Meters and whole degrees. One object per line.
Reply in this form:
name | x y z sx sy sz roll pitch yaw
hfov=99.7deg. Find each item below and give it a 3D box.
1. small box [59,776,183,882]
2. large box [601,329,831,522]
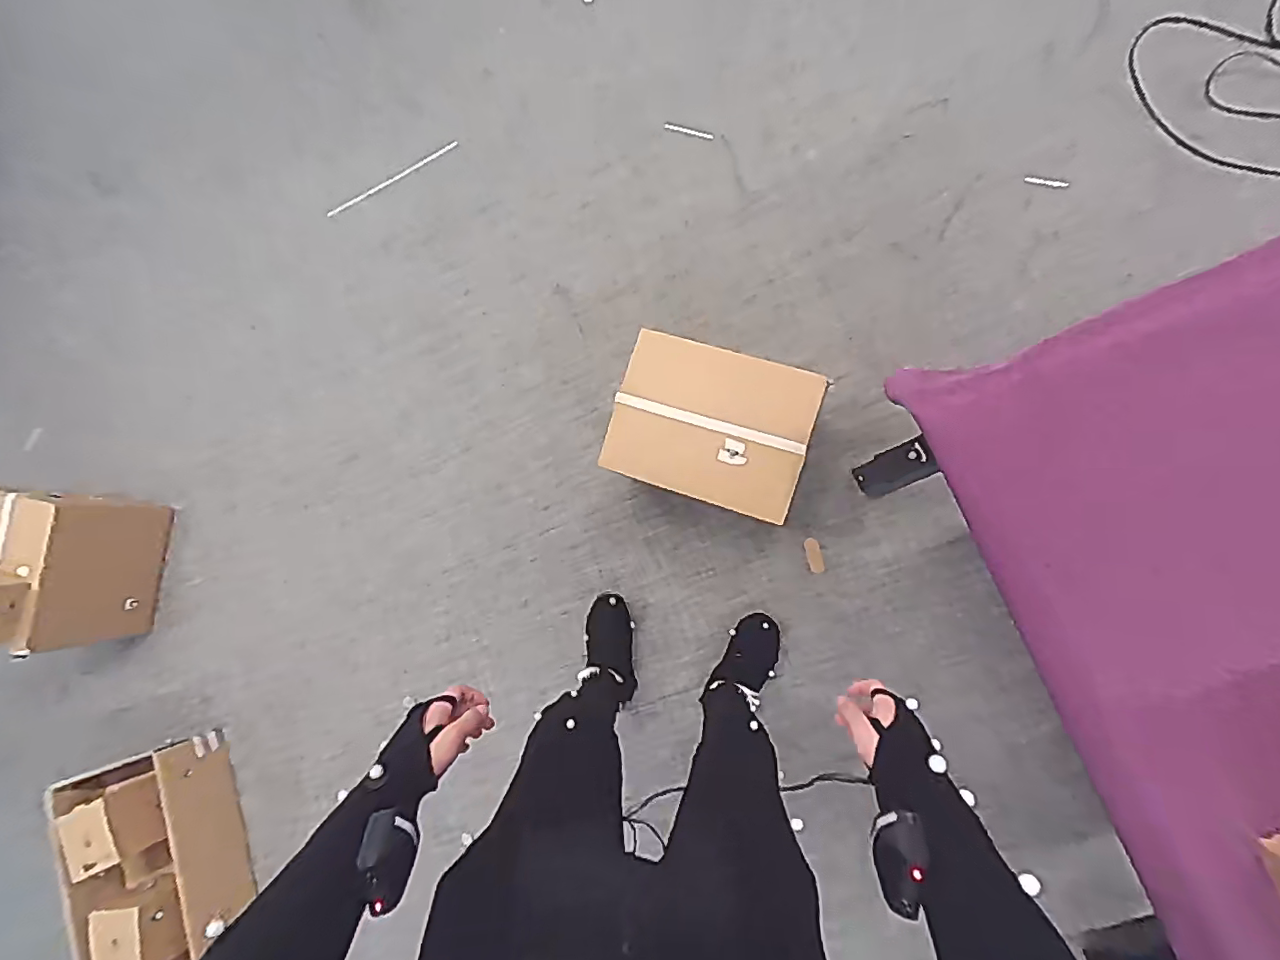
small box | -1.435 0.956 1.503 0.168 0.176 0.179 -26 81 8
large box | 0.171 -0.108 1.237 0.408 0.320 0.320 18 90 12
